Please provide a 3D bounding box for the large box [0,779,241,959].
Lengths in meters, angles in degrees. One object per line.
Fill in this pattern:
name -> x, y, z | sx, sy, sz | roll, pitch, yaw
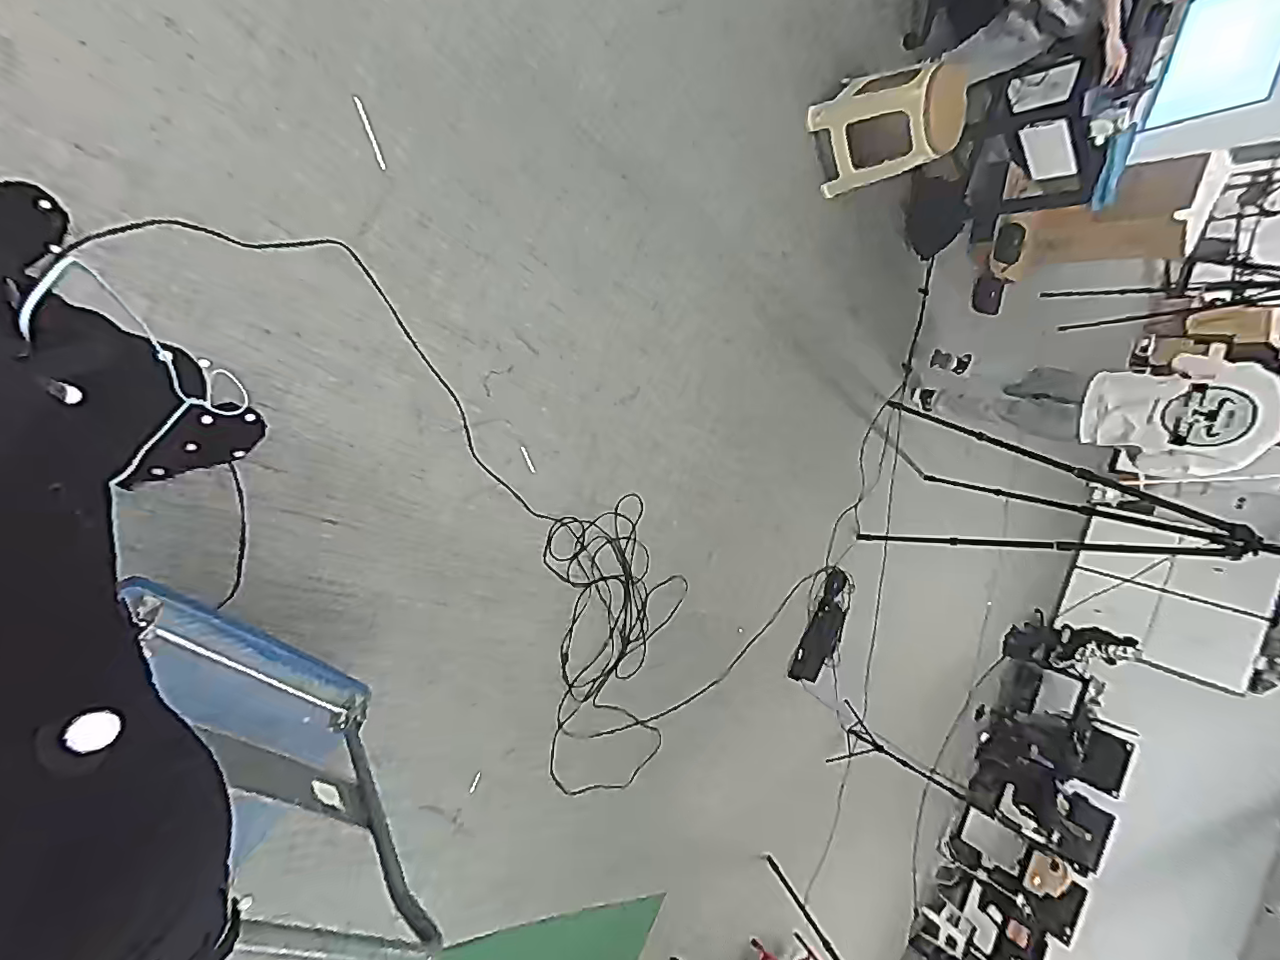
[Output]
large box -> -0.994, 0.760, 0.903 | 0.320, 0.320, 0.408 | -56, 132, -14
